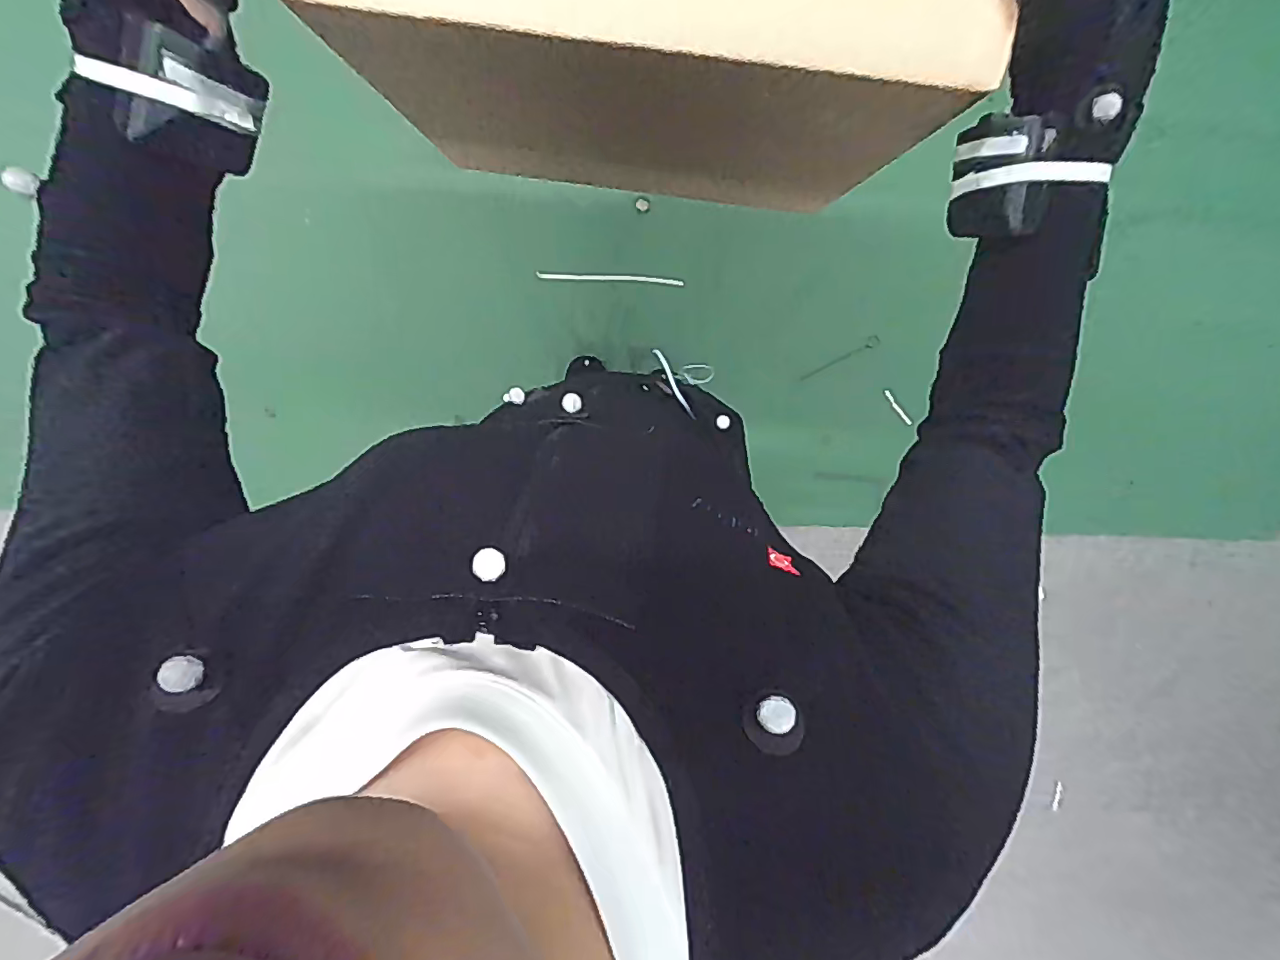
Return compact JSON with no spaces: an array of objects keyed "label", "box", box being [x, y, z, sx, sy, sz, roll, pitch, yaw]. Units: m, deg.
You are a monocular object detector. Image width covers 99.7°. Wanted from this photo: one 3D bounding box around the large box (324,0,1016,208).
[{"label":"large box","box":[0.024,-0.431,0.418,0.408,0.320,0.320,6,105,-3]}]
